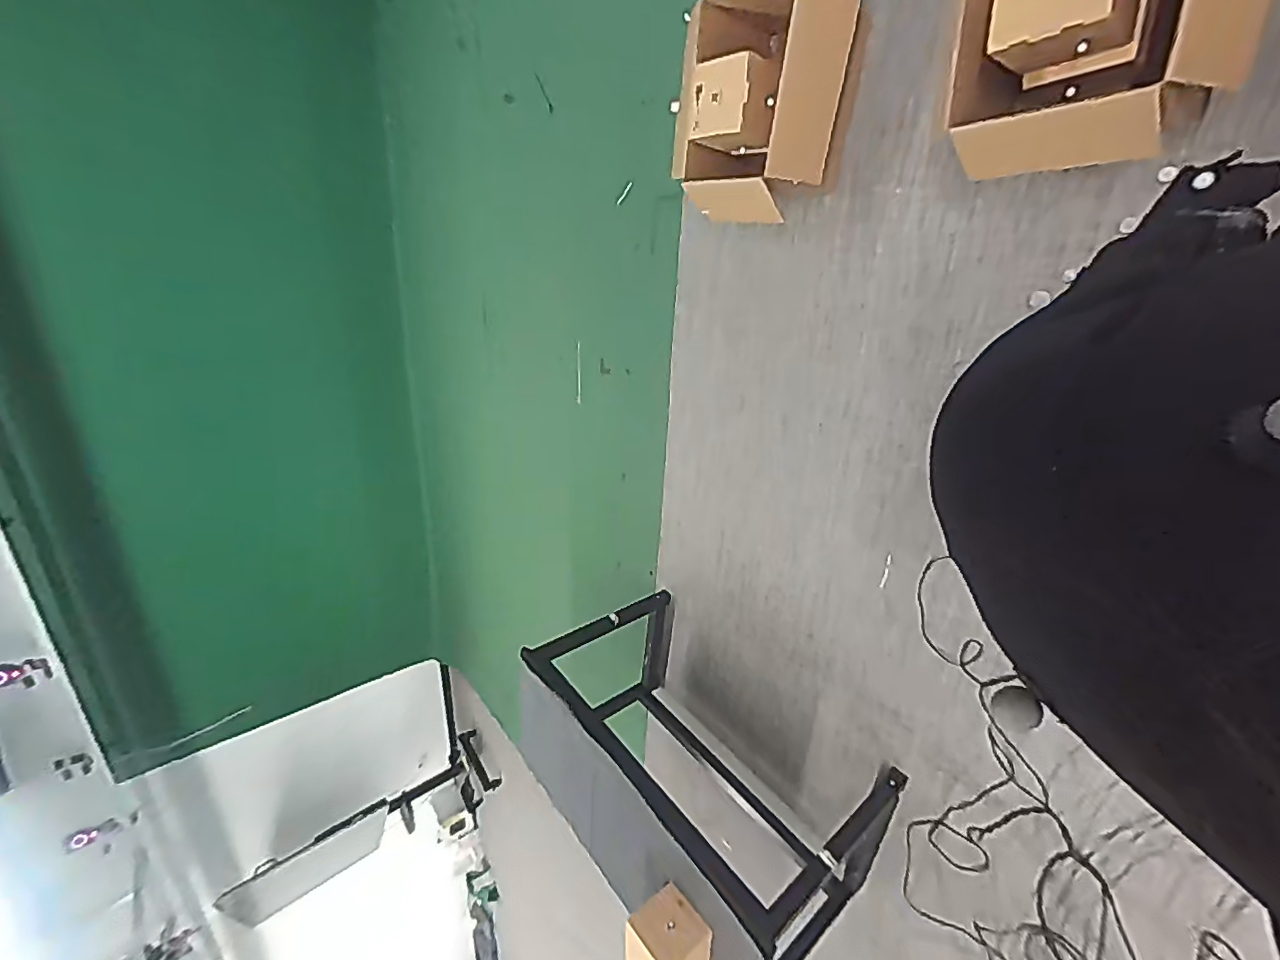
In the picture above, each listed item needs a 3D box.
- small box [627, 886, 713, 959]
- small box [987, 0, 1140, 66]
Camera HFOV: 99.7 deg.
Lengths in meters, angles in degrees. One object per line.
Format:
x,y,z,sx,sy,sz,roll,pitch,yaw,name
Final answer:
0.083,1.265,1.464,0.168,0.176,0.179,24,121,47,small box
0.700,-0.807,0.879,0.168,0.176,0.179,19,118,46,small box
